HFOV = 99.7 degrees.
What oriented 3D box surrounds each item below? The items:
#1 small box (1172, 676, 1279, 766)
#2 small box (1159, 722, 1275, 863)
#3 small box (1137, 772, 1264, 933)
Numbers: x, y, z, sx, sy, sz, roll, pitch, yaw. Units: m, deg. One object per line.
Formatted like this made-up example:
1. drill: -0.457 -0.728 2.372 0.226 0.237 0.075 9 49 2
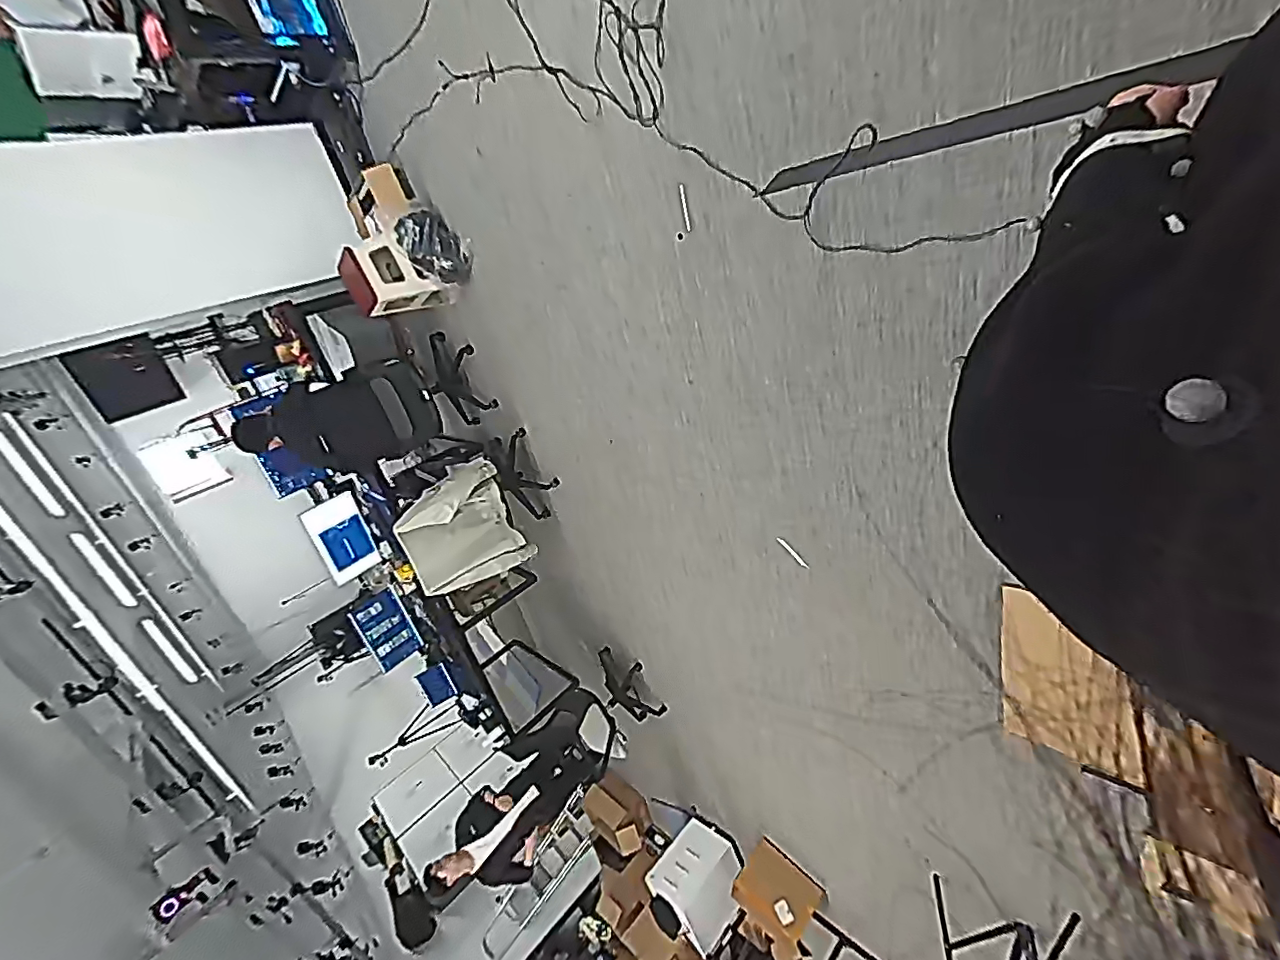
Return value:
1. small box: 1.393 0.607 1.294 0.168 0.176 0.179 8 123 48
2. small box: 1.281 0.685 1.204 0.168 0.176 0.179 6 123 49
3. small box: 1.159 0.759 1.120 0.168 0.176 0.179 6 121 49
